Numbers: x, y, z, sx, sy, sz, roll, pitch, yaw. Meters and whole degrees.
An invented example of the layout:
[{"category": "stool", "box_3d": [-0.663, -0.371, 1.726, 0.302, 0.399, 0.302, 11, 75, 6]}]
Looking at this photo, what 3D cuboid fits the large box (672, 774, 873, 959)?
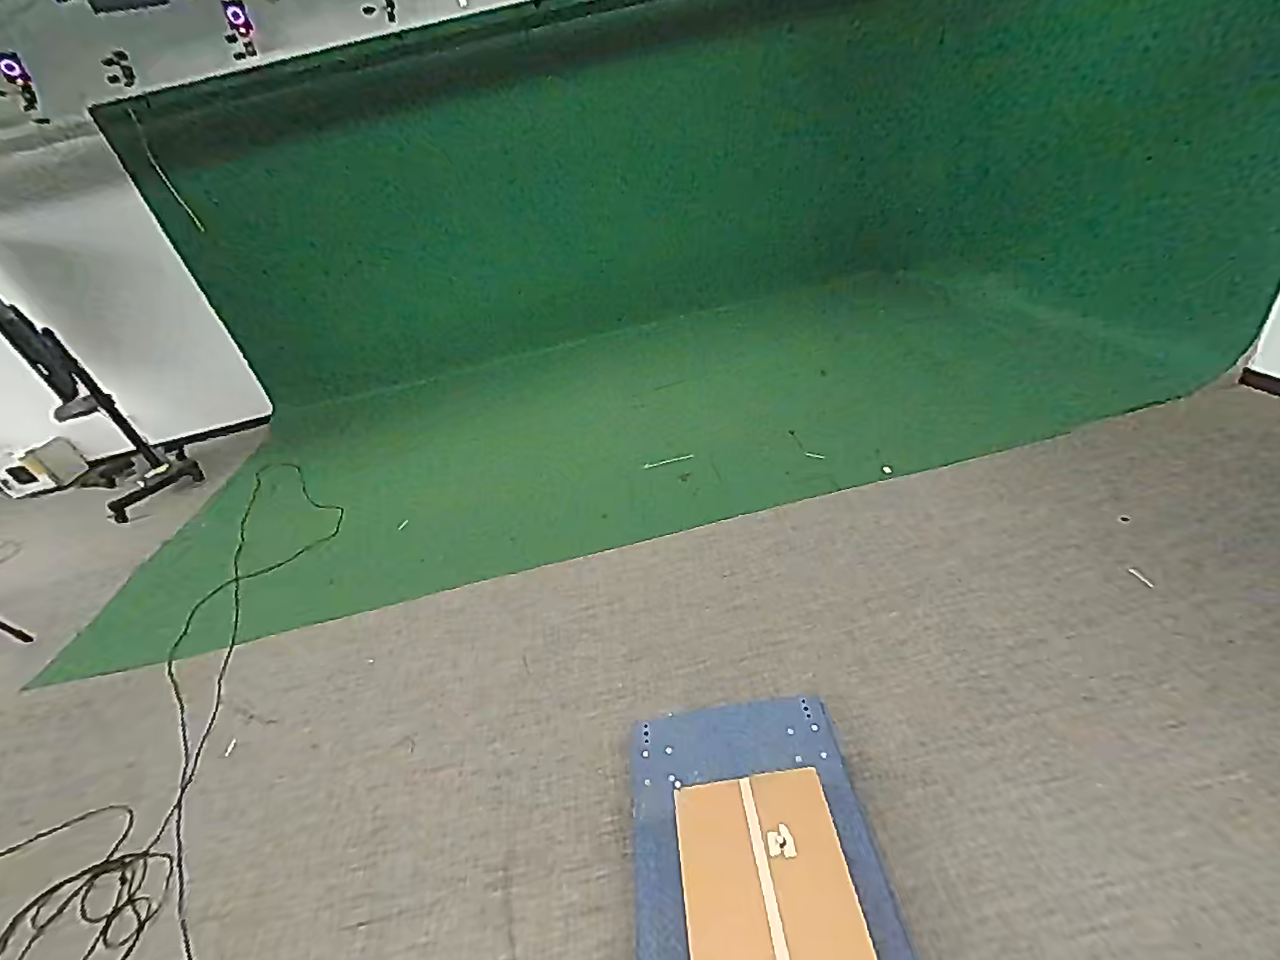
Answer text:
[{"category": "large box", "box_3d": [0.262, 0.895, 1.091, 0.320, 0.320, 0.408, -11, 32, 3]}]
